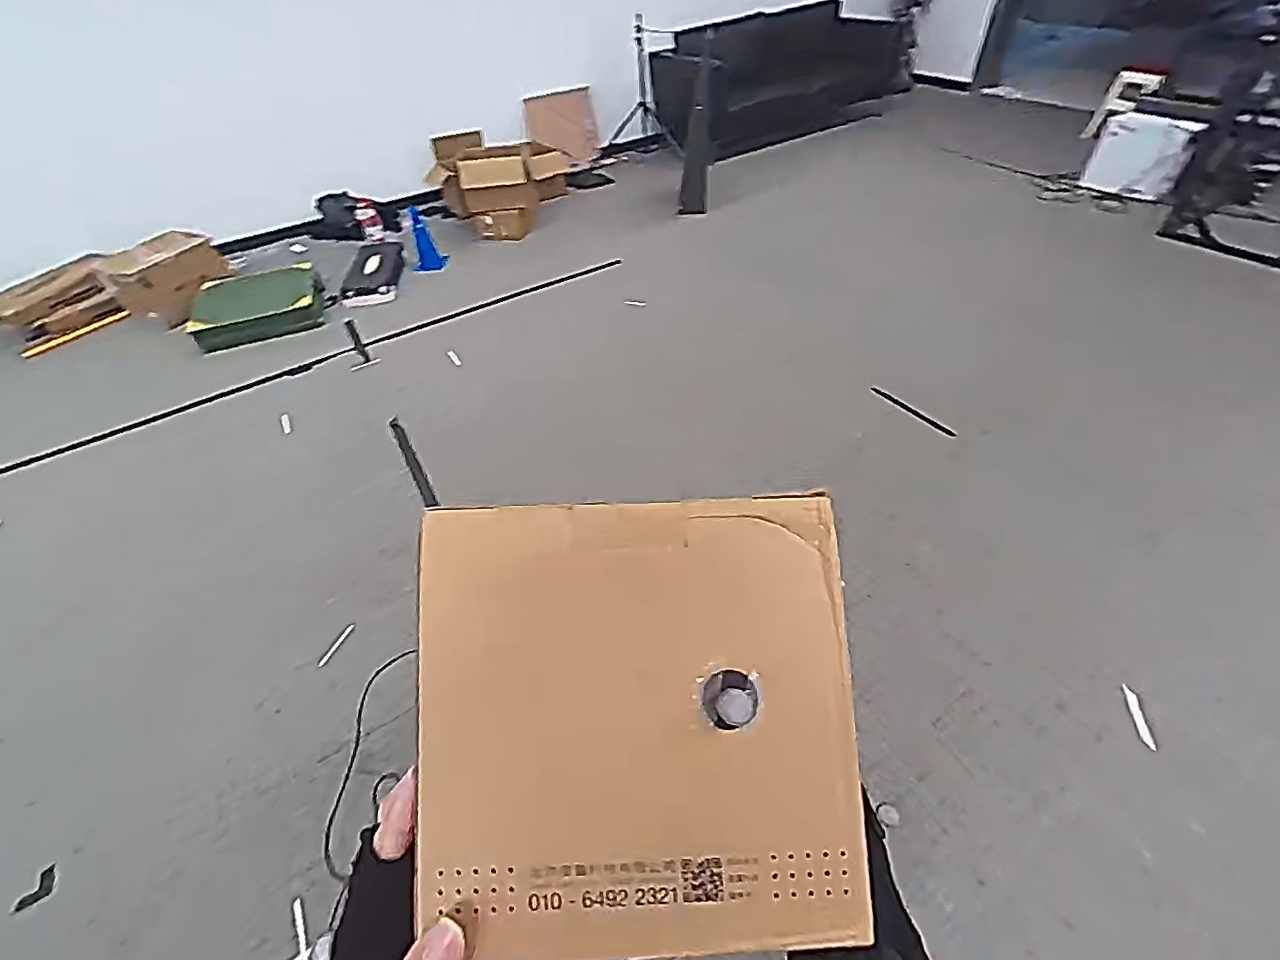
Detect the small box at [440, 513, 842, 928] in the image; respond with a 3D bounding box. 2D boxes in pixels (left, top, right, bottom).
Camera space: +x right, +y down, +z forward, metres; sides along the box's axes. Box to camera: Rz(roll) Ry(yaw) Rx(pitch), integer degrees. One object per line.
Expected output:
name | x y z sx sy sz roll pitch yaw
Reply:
small box | -0.001 0.112 0.305 0.168 0.179 0.176 -2 82 -2
